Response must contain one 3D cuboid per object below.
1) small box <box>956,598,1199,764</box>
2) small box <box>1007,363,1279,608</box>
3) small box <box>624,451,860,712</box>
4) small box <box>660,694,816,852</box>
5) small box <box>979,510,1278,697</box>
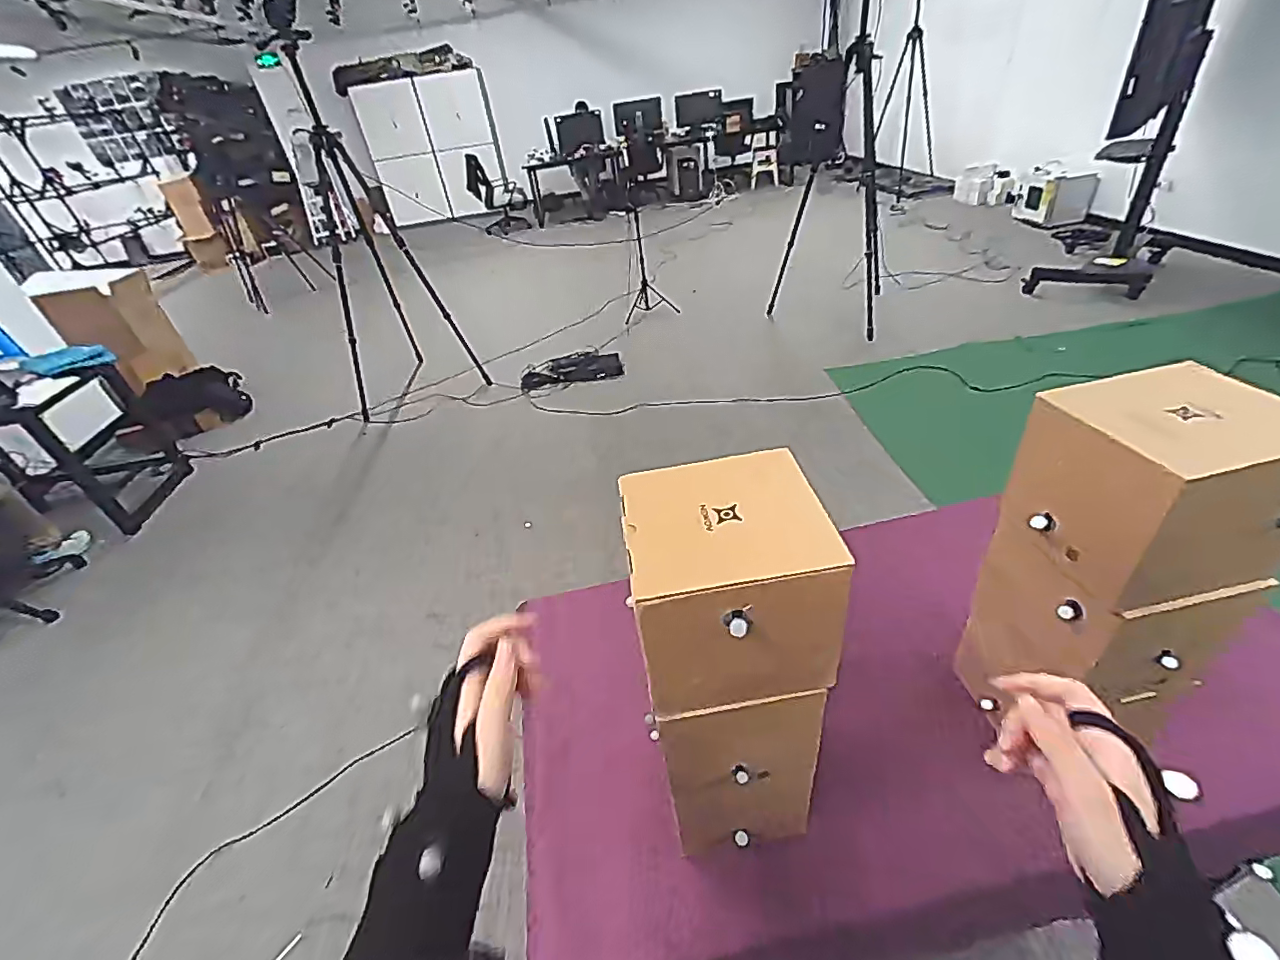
[{"bbox_3d":[0.576,0.265,0.744,0.168,0.176,0.179,-11,37,-3],"label":"small box"},{"bbox_3d":[0.524,0.004,0.551,0.179,0.176,0.168,-12,36,-2],"label":"small box"},{"bbox_3d":[0.087,0.098,0.524,0.179,0.176,0.168,-10,38,0],"label":"small box"},{"bbox_3d":[0.119,0.357,0.722,0.168,0.176,0.179,-10,38,-1],"label":"small box"},{"bbox_3d":[0.550,0.135,0.645,0.168,0.176,0.179,-11,37,-3],"label":"small box"}]
